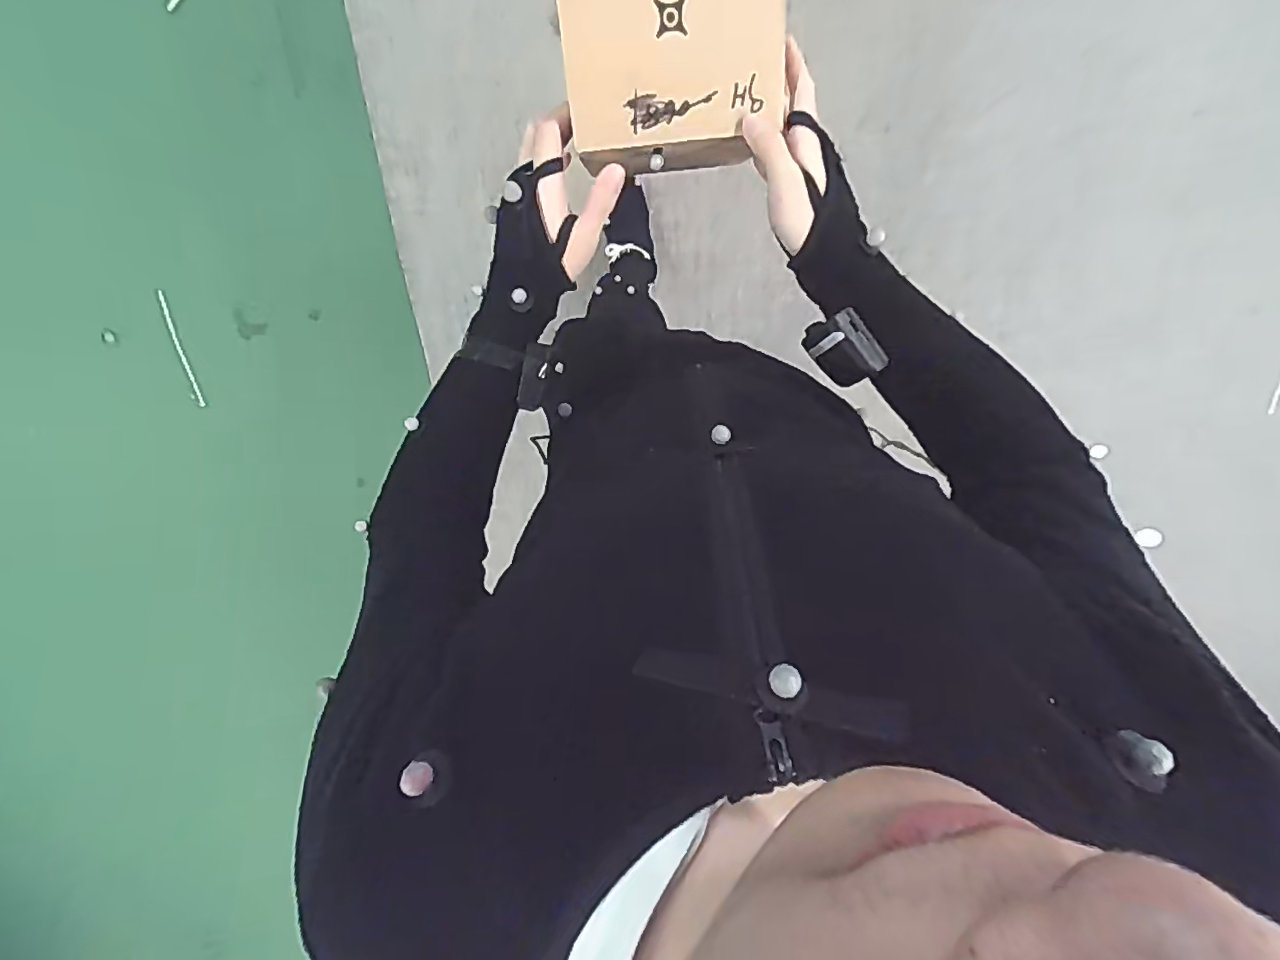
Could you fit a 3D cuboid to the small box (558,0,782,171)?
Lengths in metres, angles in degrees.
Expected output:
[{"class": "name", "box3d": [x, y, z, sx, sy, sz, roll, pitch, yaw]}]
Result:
[{"class": "small box", "box3d": [0.021, -0.381, 0.464, 0.168, 0.176, 0.179, -4, 114, 2]}]
